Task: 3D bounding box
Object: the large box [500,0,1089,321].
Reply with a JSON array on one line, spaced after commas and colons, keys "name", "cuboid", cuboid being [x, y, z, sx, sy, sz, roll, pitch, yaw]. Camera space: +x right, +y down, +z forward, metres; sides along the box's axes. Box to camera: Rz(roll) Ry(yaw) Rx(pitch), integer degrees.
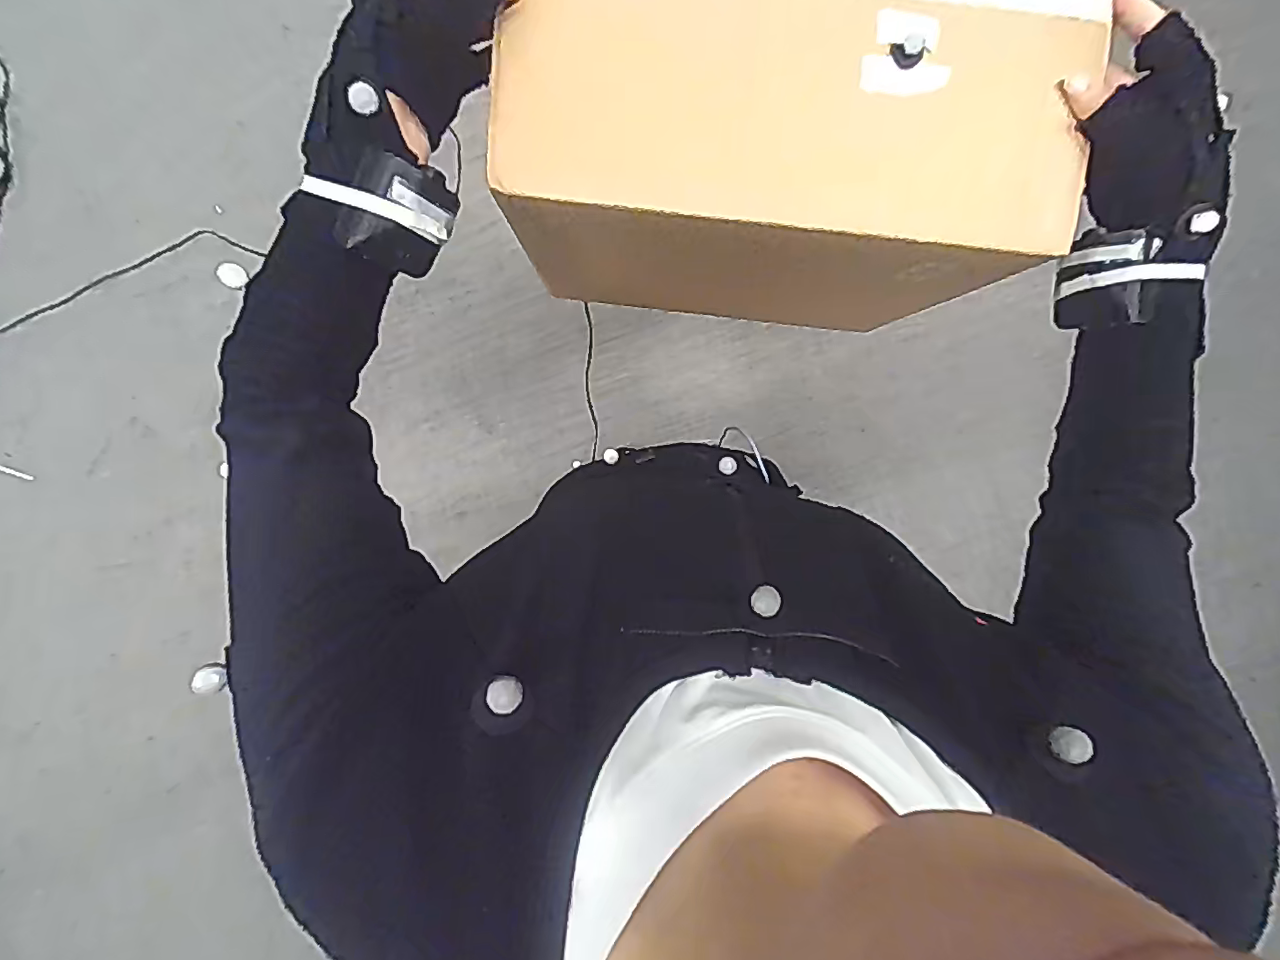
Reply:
[{"name": "large box", "cuboid": [0.105, -0.350, 0.515, 0.408, 0.320, 0.320, 5, 96, -2]}]
